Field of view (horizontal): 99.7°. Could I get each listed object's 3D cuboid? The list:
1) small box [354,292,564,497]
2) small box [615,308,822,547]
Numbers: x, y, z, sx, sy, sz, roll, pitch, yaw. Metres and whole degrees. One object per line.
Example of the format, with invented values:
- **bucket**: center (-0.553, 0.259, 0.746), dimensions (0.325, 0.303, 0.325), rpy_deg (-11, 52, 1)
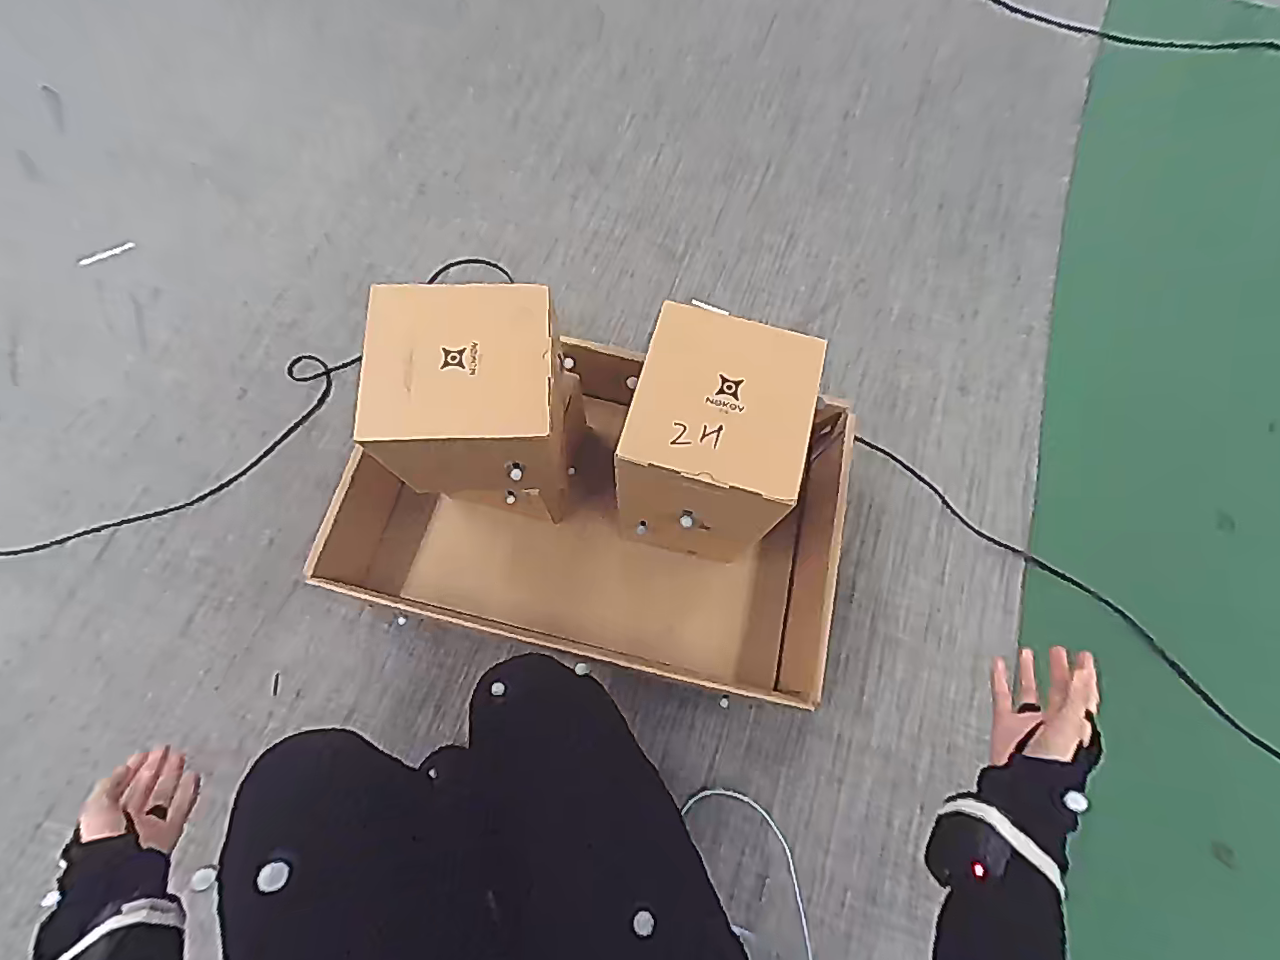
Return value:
- **small box**: center (-0.175, -0.082, 0.586), dimensions (0.179, 0.176, 0.168), rpy_deg (-1, 72, -3)
- **small box**: center (0.074, -0.045, 0.577), dimensions (0.168, 0.176, 0.179), rpy_deg (16, 72, 4)
